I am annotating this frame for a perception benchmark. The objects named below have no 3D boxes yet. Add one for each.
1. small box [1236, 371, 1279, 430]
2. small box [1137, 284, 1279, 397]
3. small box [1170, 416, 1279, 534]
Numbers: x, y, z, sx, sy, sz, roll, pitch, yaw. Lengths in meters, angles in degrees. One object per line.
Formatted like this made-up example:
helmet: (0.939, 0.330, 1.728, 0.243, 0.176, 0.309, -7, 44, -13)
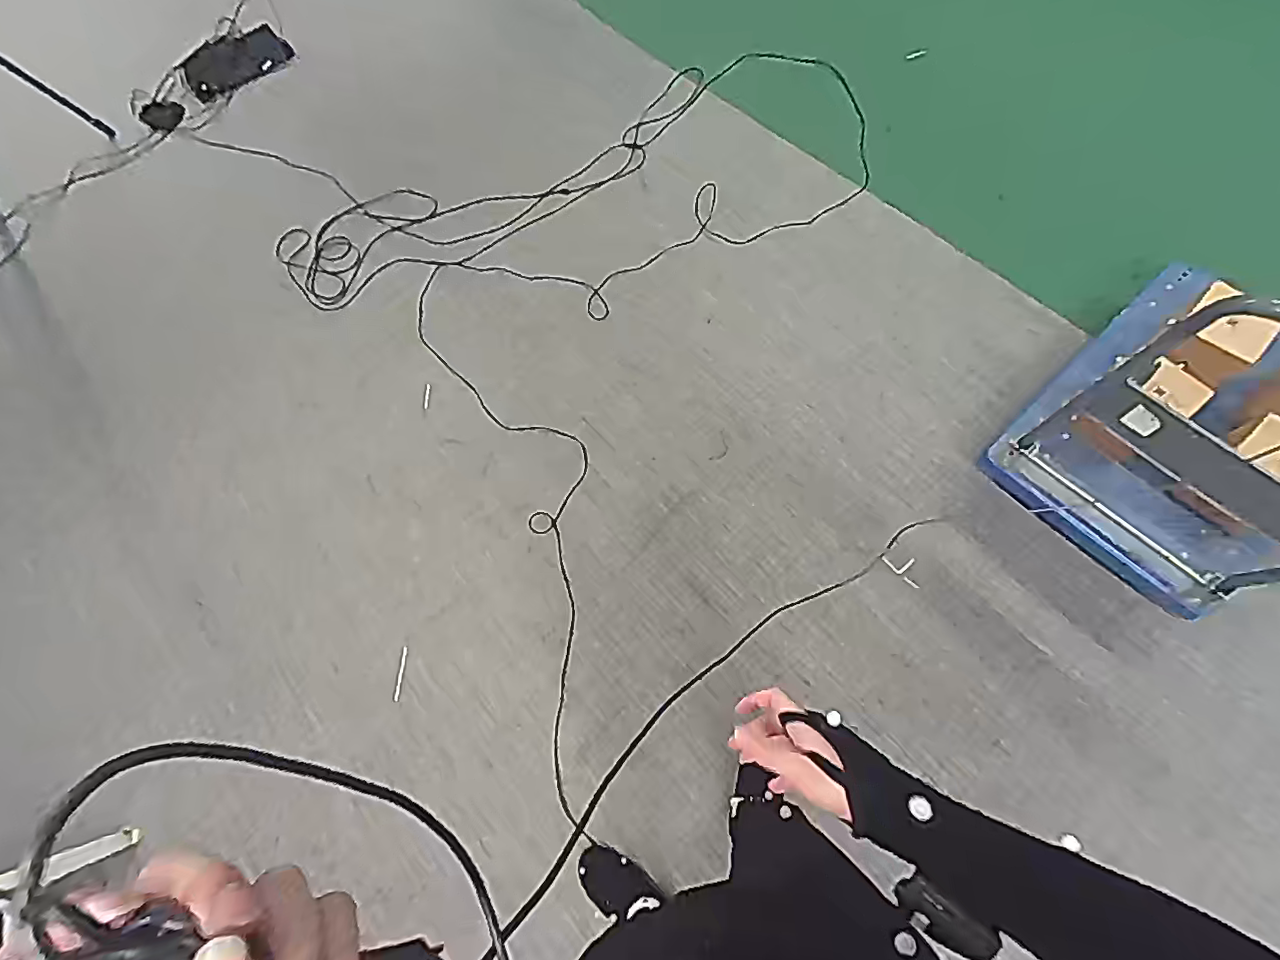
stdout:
small box: (1.583, -0.180, 1.264, 0.179, 0.176, 0.168, -45, 71, -9)
small box: (1.405, -0.339, 1.344, 0.179, 0.176, 0.168, -44, 72, -10)
small box: (1.381, -0.005, 1.223, 0.179, 0.176, 0.168, -40, 71, -8)
